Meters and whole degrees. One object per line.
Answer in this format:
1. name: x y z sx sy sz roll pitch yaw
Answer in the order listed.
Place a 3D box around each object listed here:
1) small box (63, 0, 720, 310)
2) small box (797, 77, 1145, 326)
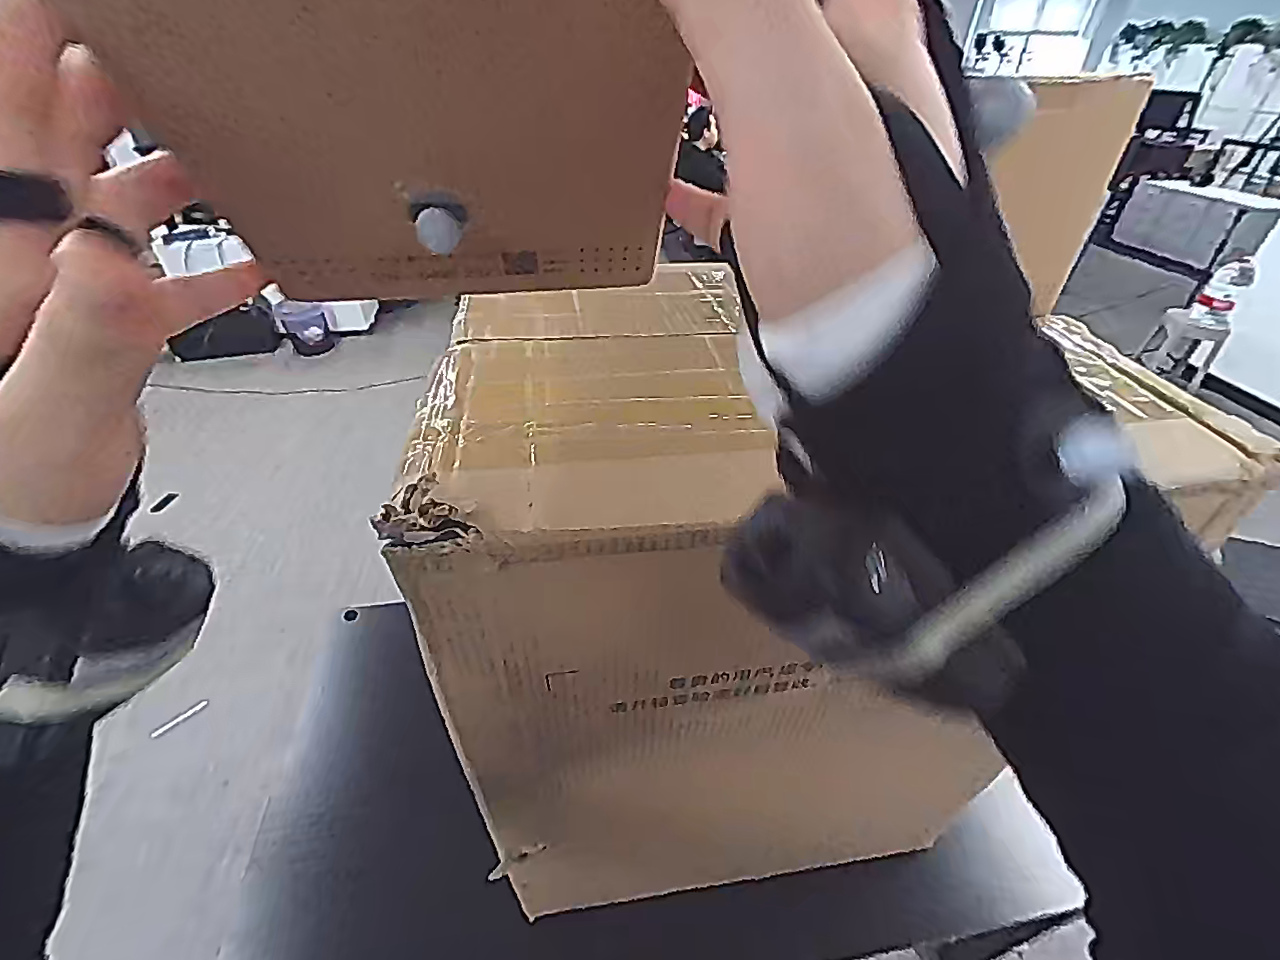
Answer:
1. small box: -0.075 -0.183 0.188 0.168 0.176 0.179 -5 74 -8
2. small box: 0.255 -0.246 0.476 0.168 0.176 0.179 -6 37 -8
